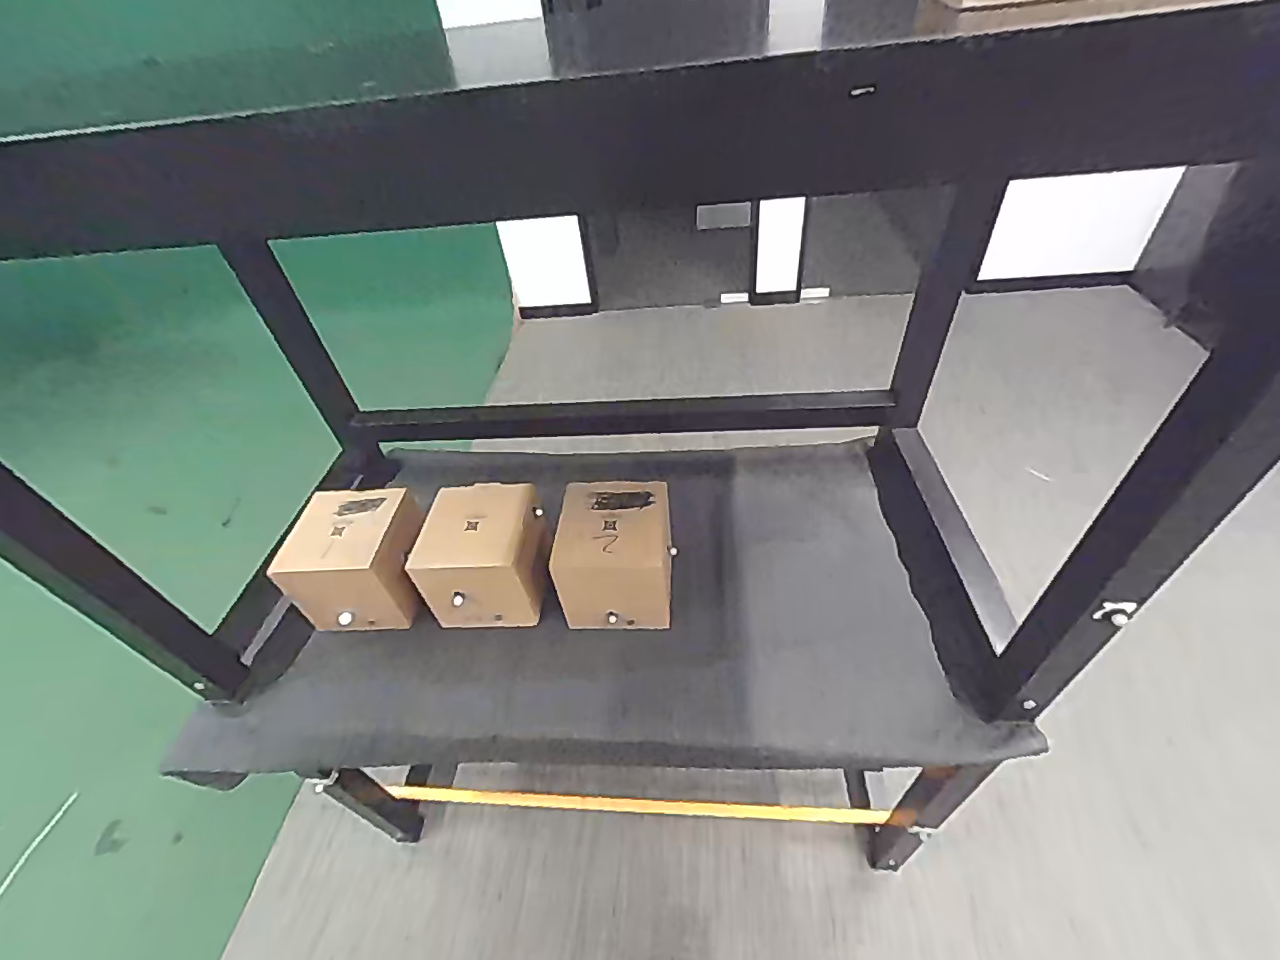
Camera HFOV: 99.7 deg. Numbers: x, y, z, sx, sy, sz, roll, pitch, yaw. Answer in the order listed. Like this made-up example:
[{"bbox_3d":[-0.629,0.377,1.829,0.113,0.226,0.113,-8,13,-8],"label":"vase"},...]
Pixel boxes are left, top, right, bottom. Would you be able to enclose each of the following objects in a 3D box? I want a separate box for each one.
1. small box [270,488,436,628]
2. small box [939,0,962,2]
[{"bbox_3d":[-0.471,0.134,0.926,0.168,0.176,0.179,-3,43,5],"label":"small box"},{"bbox_3d":[0.248,-0.358,0.268,0.168,0.176,0.179,6,44,14],"label":"small box"}]
